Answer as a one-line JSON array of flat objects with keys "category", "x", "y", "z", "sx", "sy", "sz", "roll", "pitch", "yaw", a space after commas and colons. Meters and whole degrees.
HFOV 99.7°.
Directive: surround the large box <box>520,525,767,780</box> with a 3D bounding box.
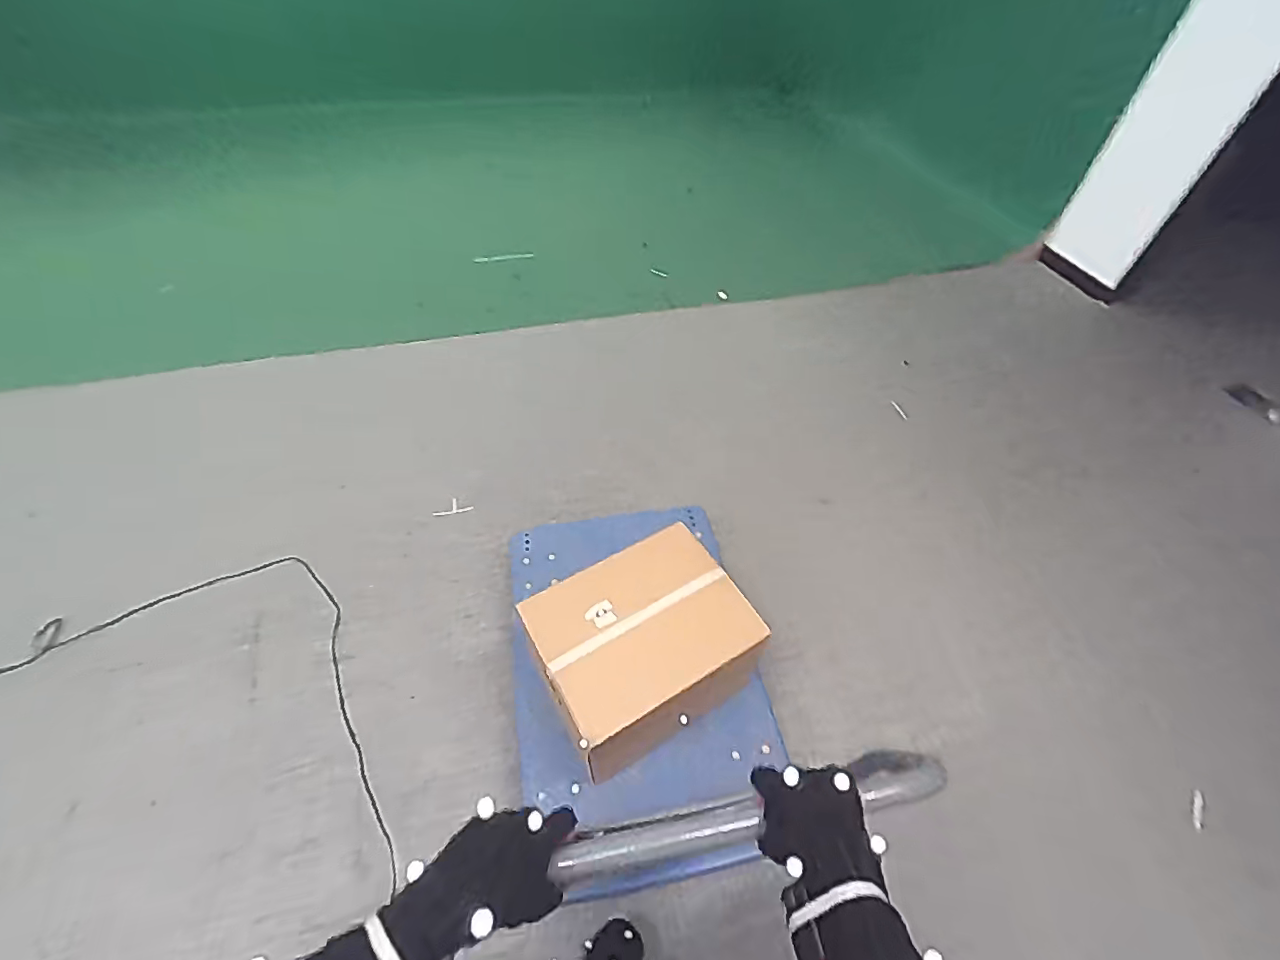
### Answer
[{"category": "large box", "x": 0.003, "y": 0.371, "z": 1.177, "sx": 0.408, "sy": 0.320, "sz": 0.320, "roll": -24, "pitch": 55, "yaw": -20}]
